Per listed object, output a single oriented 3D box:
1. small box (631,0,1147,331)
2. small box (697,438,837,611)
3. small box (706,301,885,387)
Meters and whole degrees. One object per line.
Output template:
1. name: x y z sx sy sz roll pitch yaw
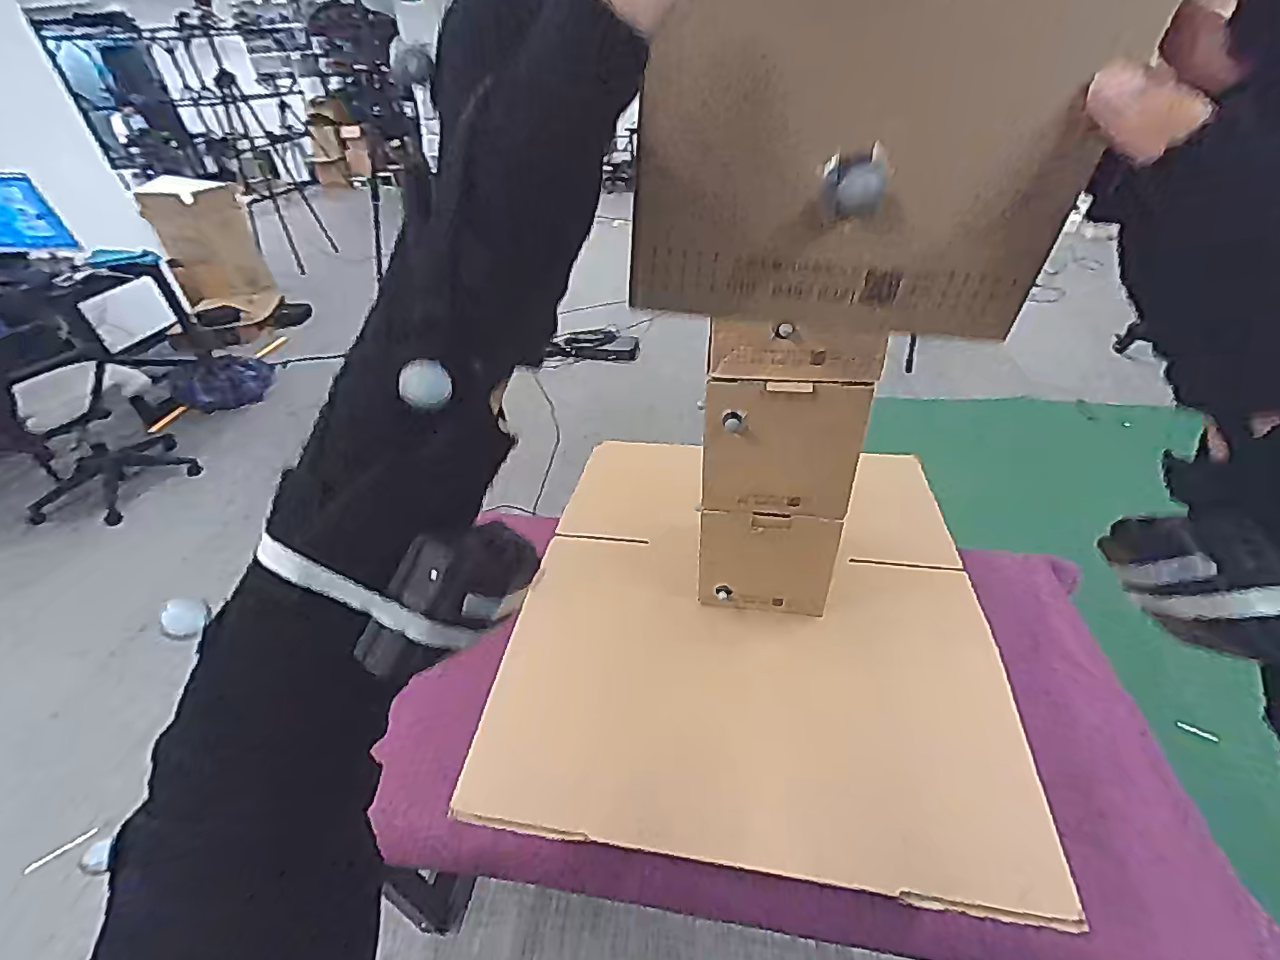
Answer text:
1. small box: 0.086 -0.190 0.259 0.168 0.176 0.179 5 39 2
2. small box: 0.168 0.060 0.748 0.168 0.176 0.179 4 36 9
3. small box: 0.157 -0.211 0.563 0.168 0.176 0.179 3 36 7
